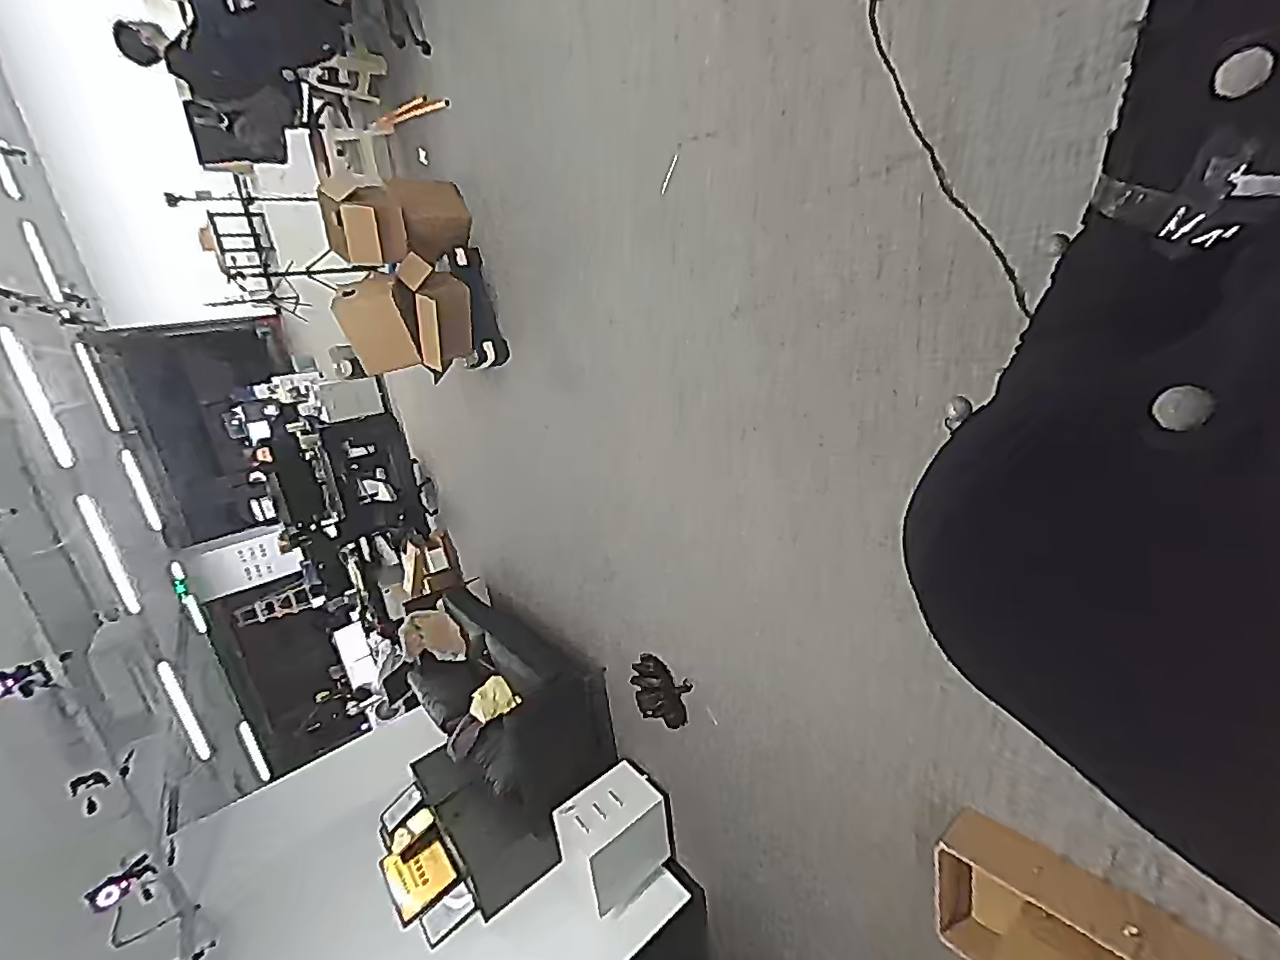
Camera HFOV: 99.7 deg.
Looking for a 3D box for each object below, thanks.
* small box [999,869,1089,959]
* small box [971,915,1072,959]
[{"bbox_3d":[1.115,1.241,1.497,0.168,0.176,0.179,14,120,50],"label":"small box"},{"bbox_3d":[0.989,1.290,1.405,0.179,0.176,0.168,11,116,50],"label":"small box"}]
